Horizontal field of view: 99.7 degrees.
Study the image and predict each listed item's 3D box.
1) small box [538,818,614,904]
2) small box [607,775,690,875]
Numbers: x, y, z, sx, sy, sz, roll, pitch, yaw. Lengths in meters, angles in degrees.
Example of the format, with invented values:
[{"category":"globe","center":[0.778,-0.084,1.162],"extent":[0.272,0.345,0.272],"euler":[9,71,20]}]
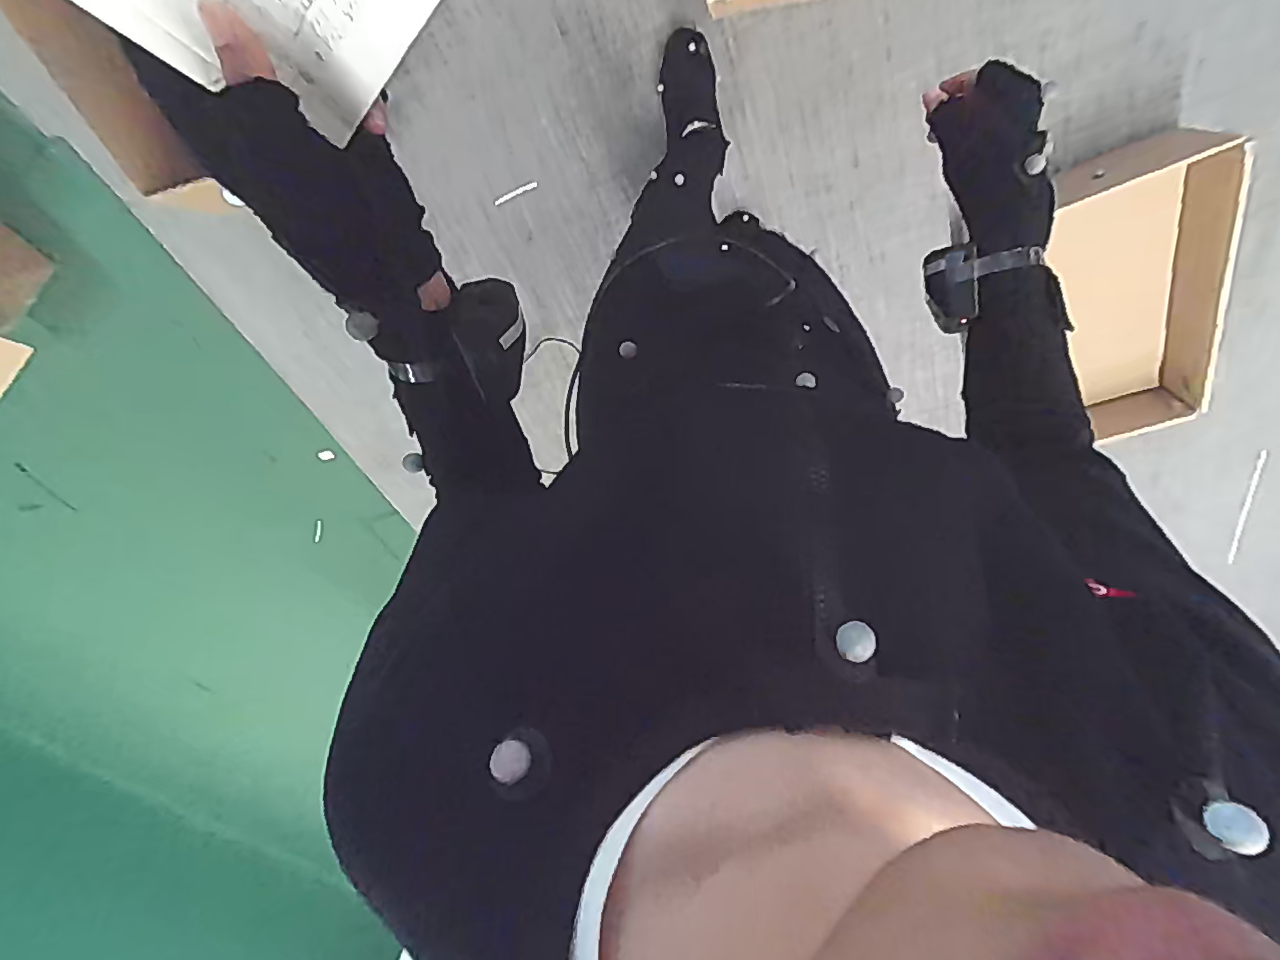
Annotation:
[{"category":"small box","center":[-0.174,1.101,1.563],"extent":[0.168,0.176,0.179],"euler":[-11,128,11]},{"category":"small box","center":[0.024,0.862,1.361],"extent":[0.168,0.176,0.179],"euler":[-12,126,13]}]
